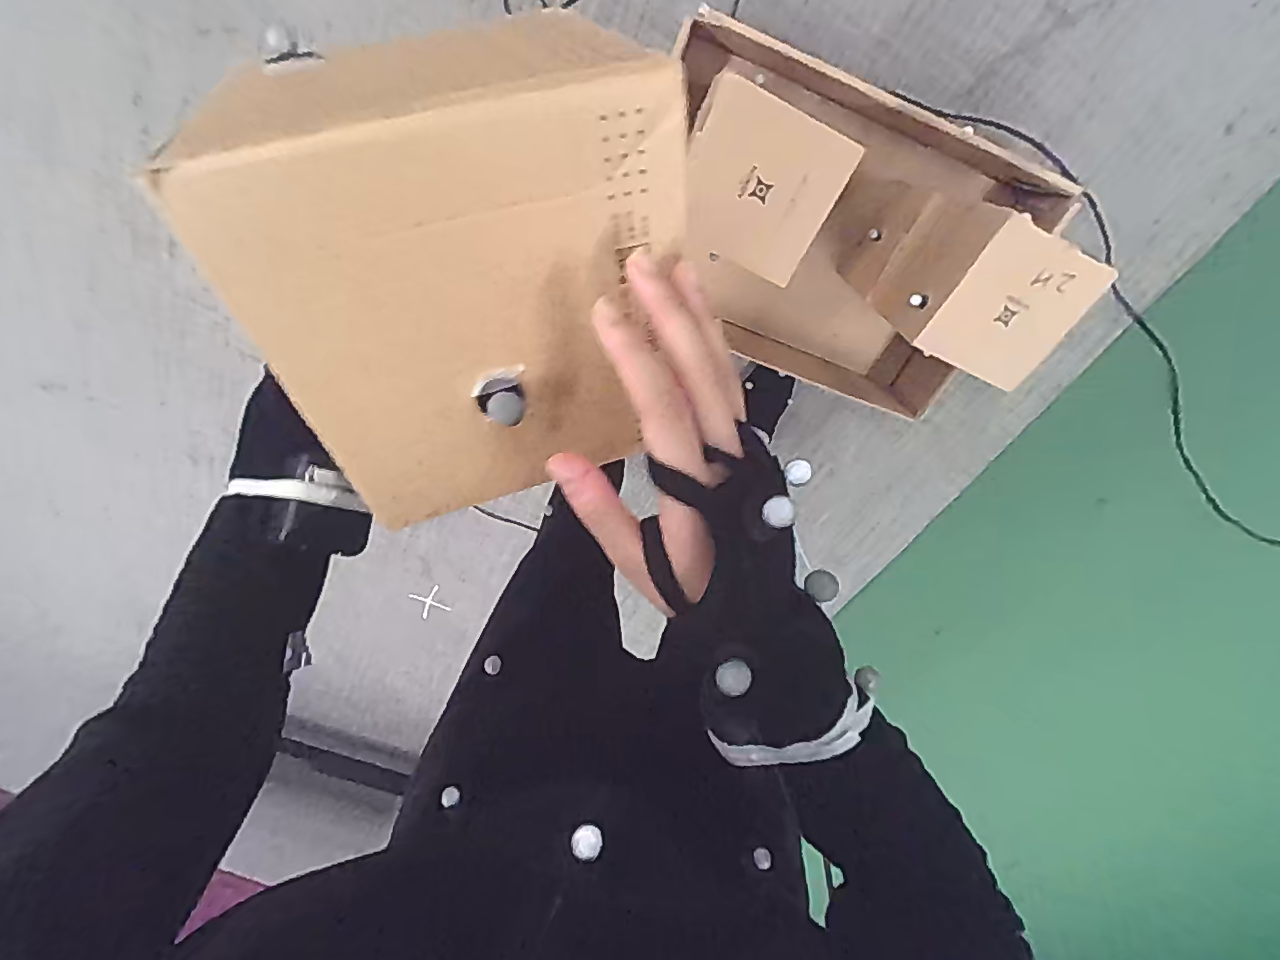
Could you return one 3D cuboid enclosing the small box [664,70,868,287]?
[{"bbox_3d":[0.143,-0.375,0.681,0.179,0.176,0.168,23,123,-12],"label":"small box"}]

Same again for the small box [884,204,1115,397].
[{"bbox_3d":[0.465,-0.249,0.739,0.168,0.176,0.179,22,121,-12],"label":"small box"}]

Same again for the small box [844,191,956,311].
[{"bbox_3d":[0.461,-0.345,0.874,0.179,0.176,0.168,23,122,-10],"label":"small box"}]
